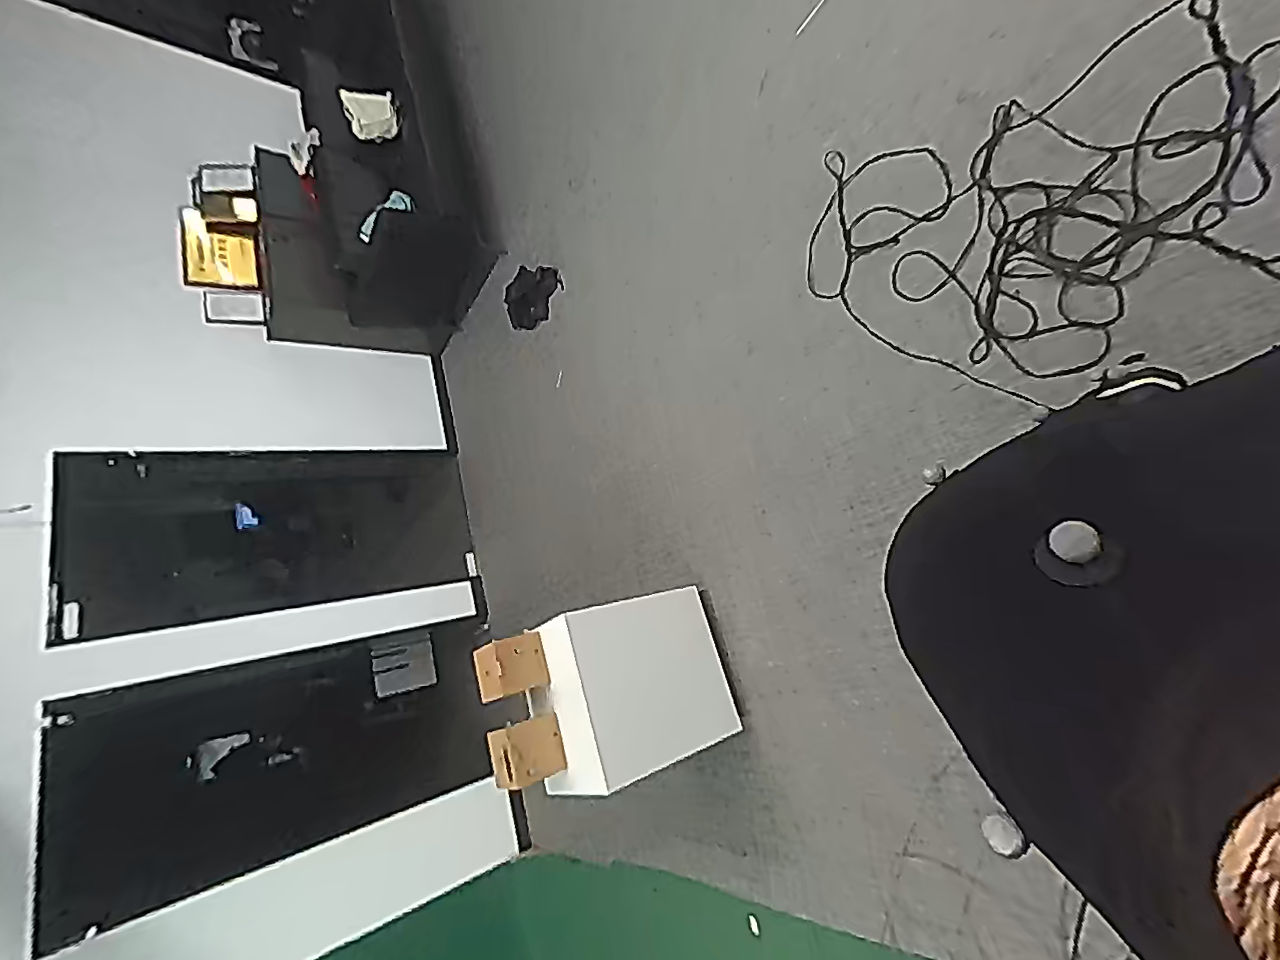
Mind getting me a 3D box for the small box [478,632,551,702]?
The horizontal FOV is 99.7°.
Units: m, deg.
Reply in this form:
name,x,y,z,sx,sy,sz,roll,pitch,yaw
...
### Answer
name,x,y,z,sx,sy,sz,roll,pitch,yaw
small box,-0.401,0.601,1.744,0.179,0.176,0.168,-38,63,47
